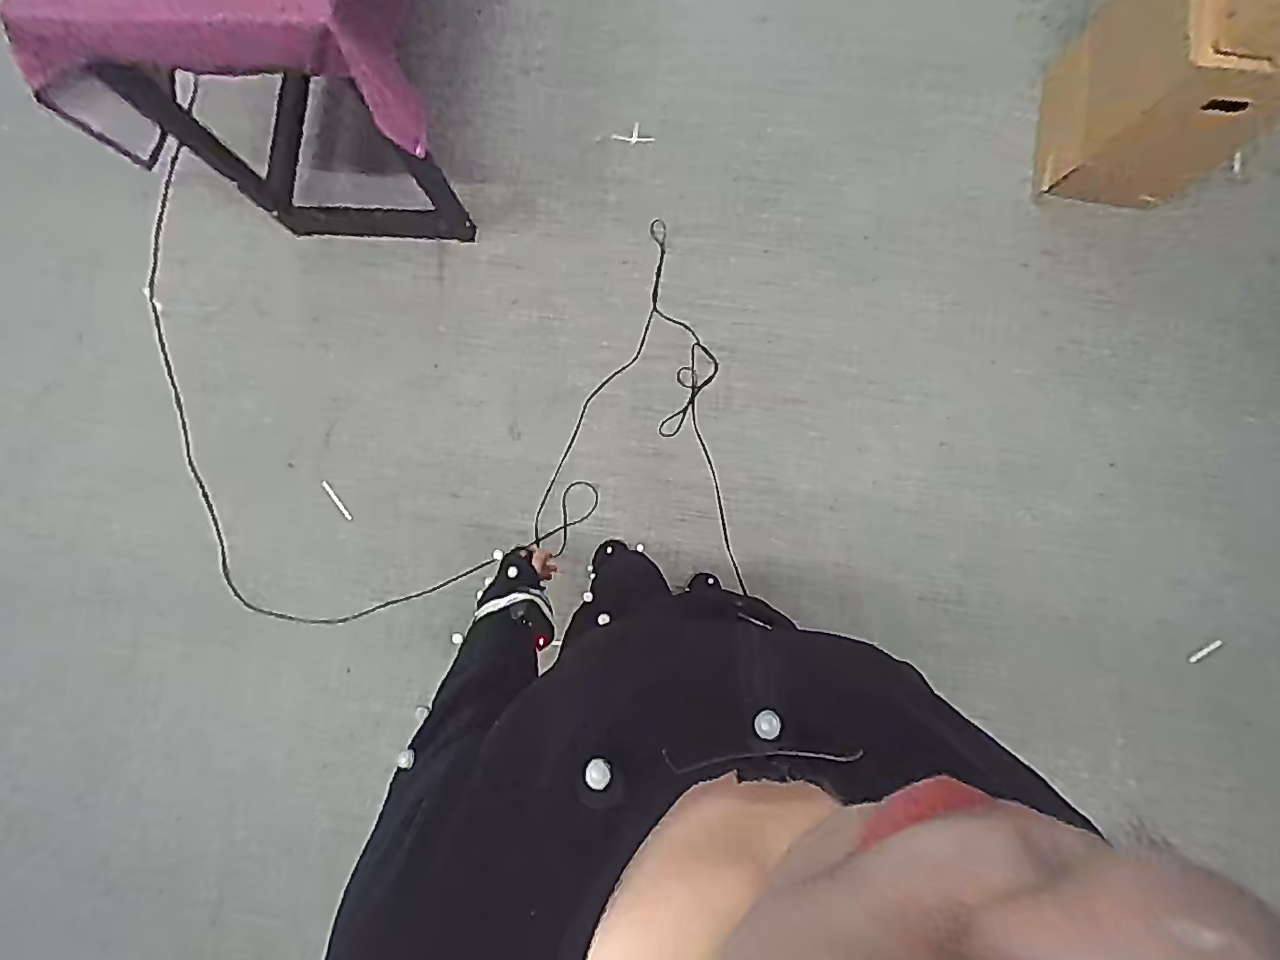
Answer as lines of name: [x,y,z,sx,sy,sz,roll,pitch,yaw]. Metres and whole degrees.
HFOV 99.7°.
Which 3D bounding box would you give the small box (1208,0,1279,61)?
small box: [1.263,-0.956,1.040,0.179,0.176,0.168,10,83,3]
